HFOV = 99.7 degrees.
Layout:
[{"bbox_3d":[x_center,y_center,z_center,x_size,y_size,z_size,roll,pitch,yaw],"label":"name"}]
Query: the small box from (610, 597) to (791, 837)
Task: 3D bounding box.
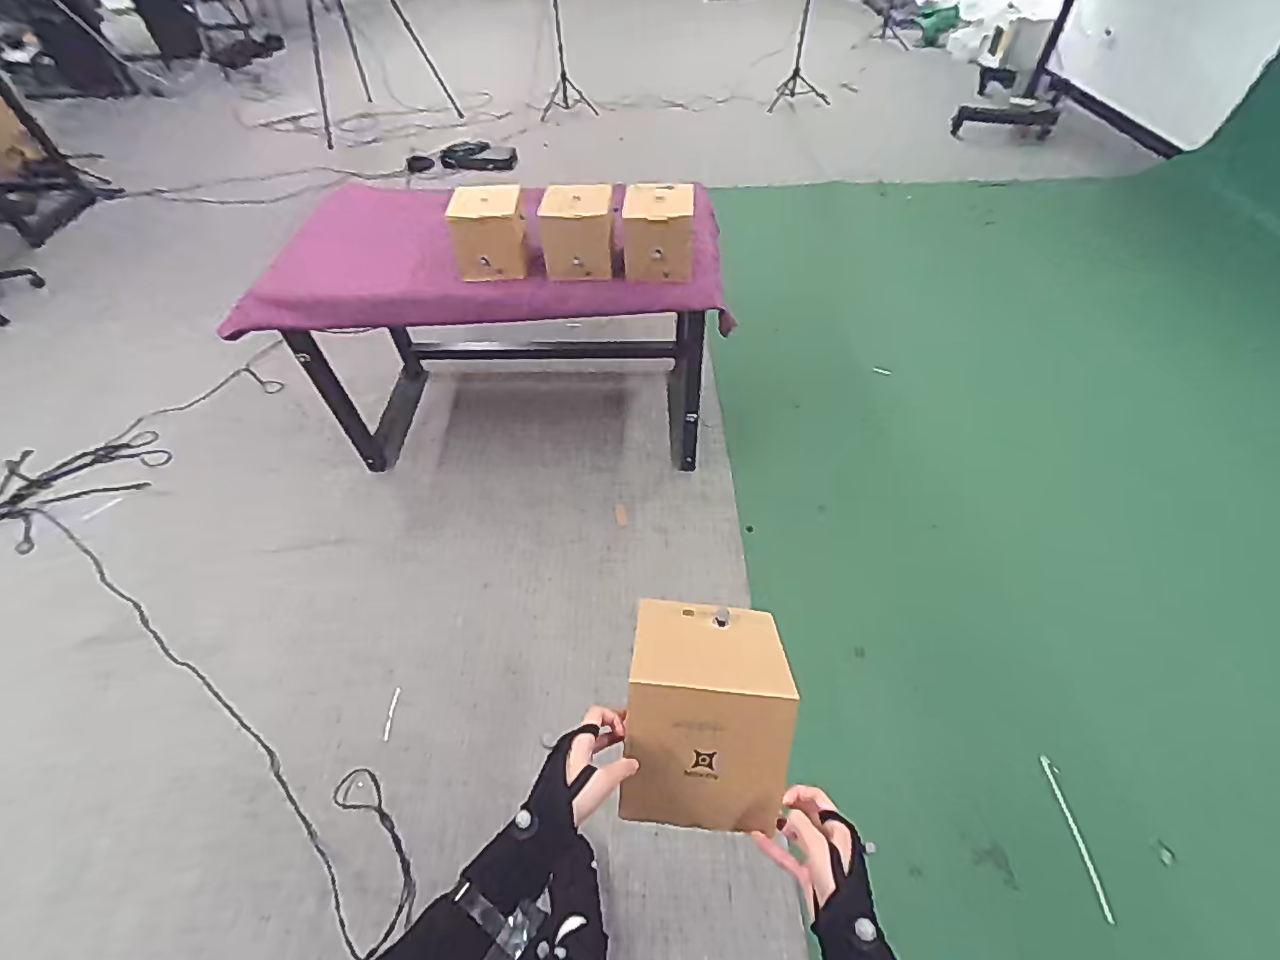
[{"bbox_3d":[0.063,0.257,0.615,0.168,0.179,0.176,5,17,2],"label":"small box"}]
